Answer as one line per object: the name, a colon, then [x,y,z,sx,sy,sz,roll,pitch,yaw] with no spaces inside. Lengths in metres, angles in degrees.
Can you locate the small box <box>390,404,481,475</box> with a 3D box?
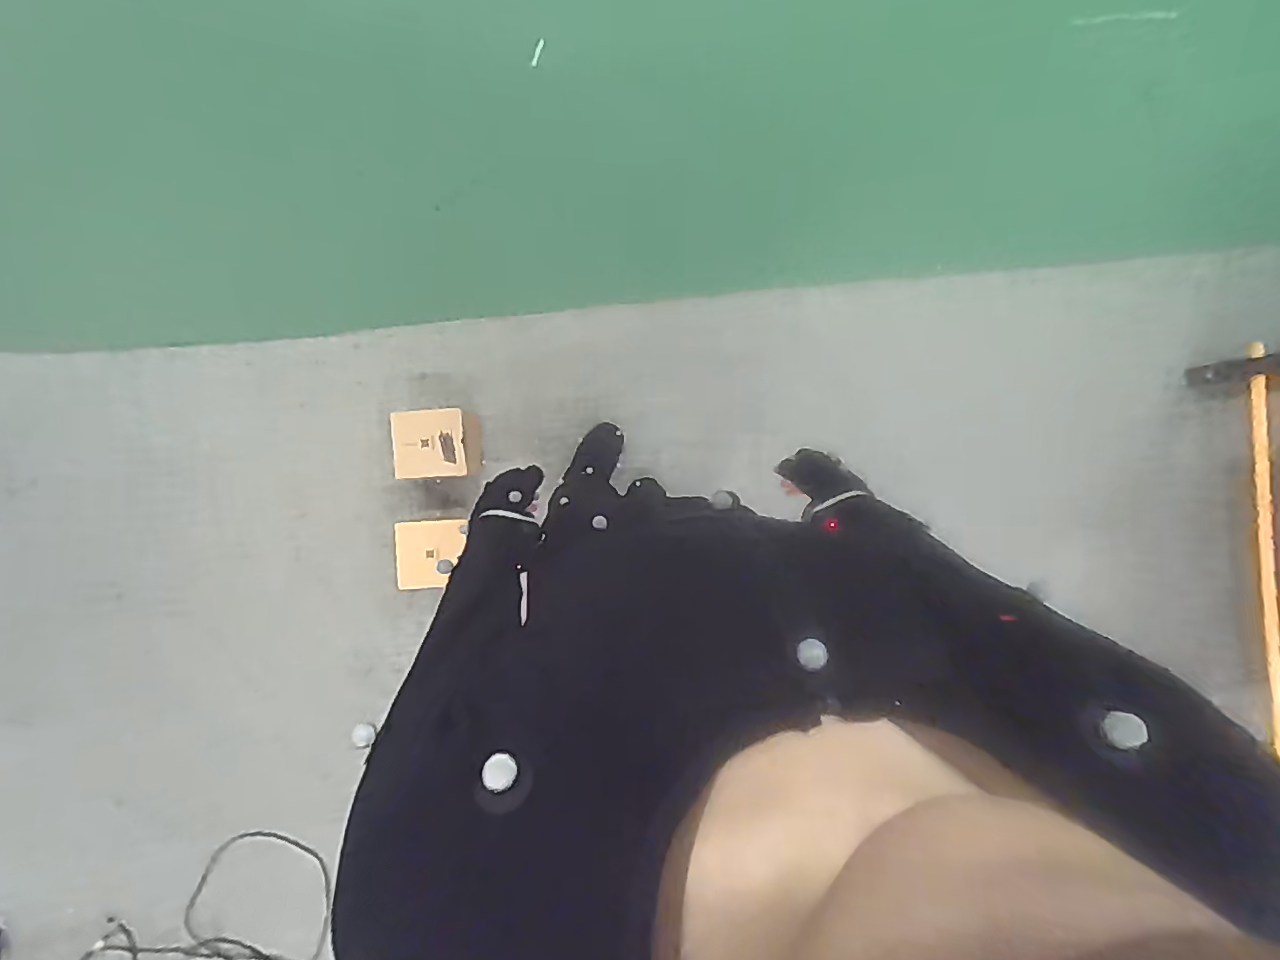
small box: [-0.512,-0.102,1.382,0.179,0.176,0.168,-4,92,-1]

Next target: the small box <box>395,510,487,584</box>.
small box: [-0.506,0.167,1.389,0.179,0.176,0.168,-3,91,-2]
